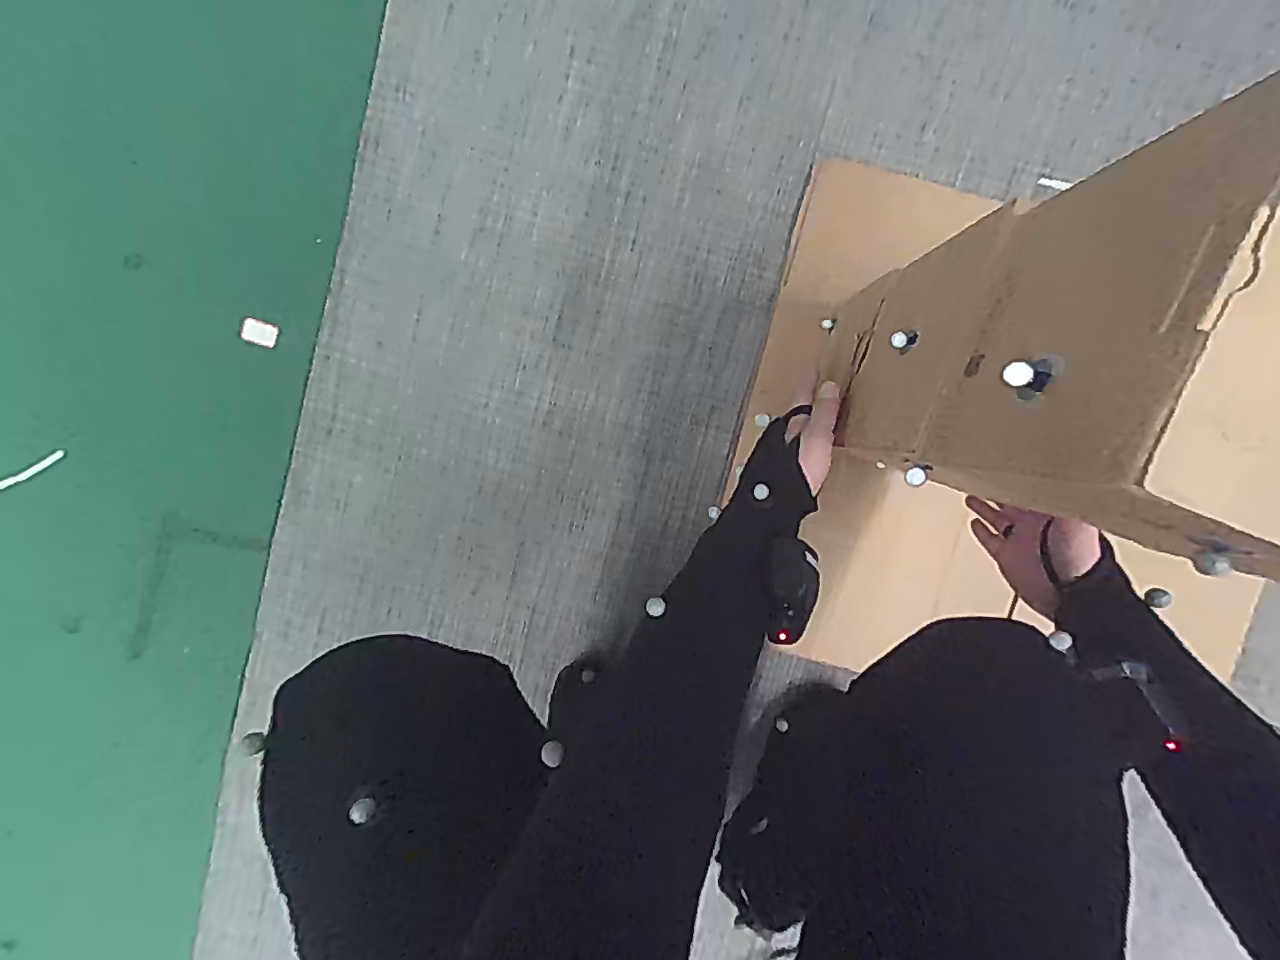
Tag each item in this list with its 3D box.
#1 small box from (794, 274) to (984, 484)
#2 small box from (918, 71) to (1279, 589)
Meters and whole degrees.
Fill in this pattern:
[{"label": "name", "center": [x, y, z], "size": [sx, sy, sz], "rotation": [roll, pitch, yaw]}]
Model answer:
[{"label": "small box", "center": [0.291, -0.098, 0.594], "size": [0.179, 0.176, 0.168], "rotation": [19, 96, -1]}, {"label": "small box", "center": [0.280, -0.047, 0.271], "size": [0.179, 0.176, 0.168], "rotation": [21, 97, -1]}]
